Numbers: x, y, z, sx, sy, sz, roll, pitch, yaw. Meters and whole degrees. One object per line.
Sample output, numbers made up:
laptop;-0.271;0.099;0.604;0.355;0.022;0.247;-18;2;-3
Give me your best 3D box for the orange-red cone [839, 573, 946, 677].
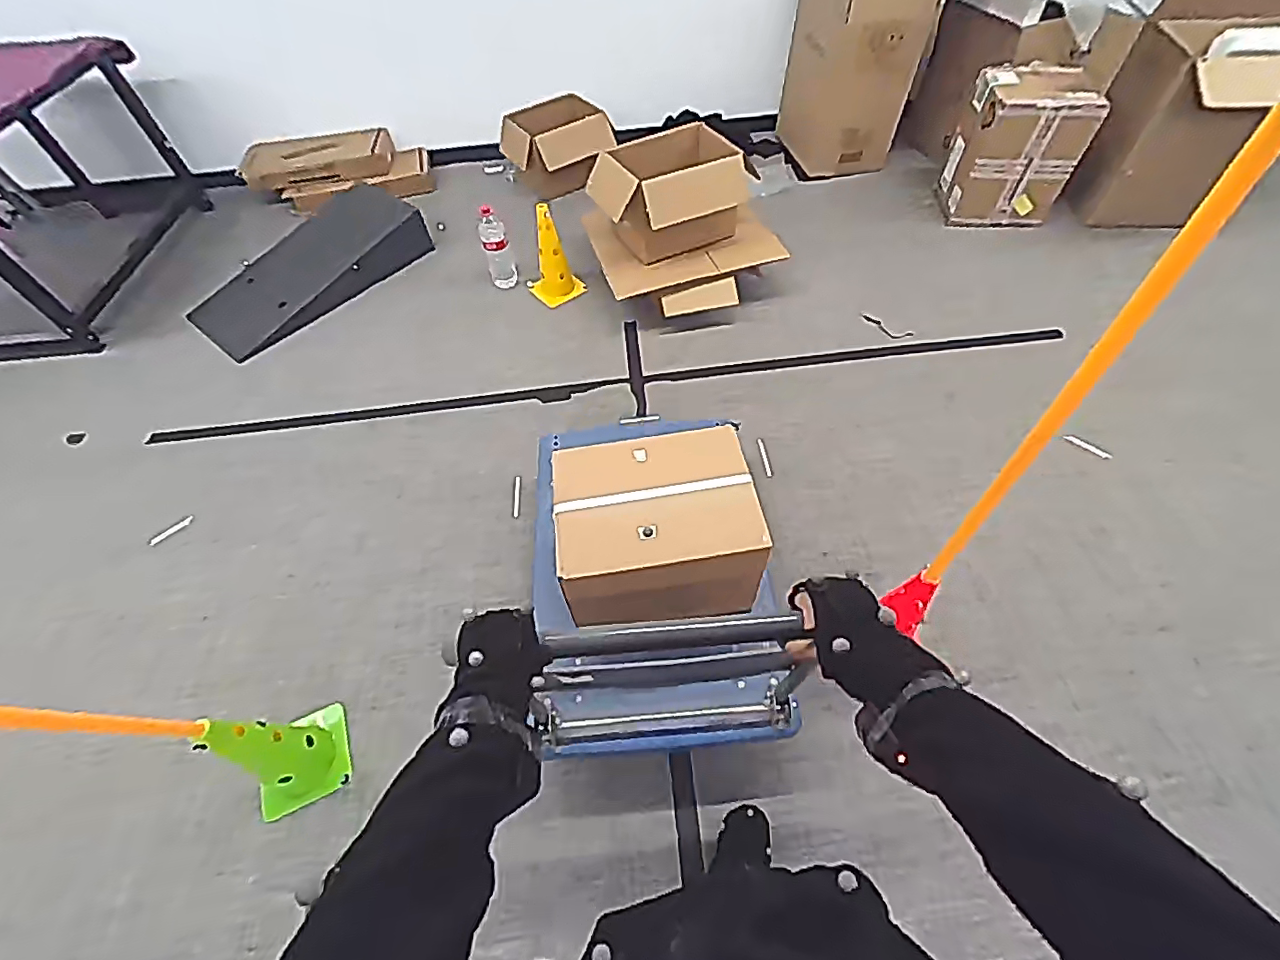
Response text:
orange-red cone;0.611;0.303;1.238;0.199;0.360;0.198;0;55;2
